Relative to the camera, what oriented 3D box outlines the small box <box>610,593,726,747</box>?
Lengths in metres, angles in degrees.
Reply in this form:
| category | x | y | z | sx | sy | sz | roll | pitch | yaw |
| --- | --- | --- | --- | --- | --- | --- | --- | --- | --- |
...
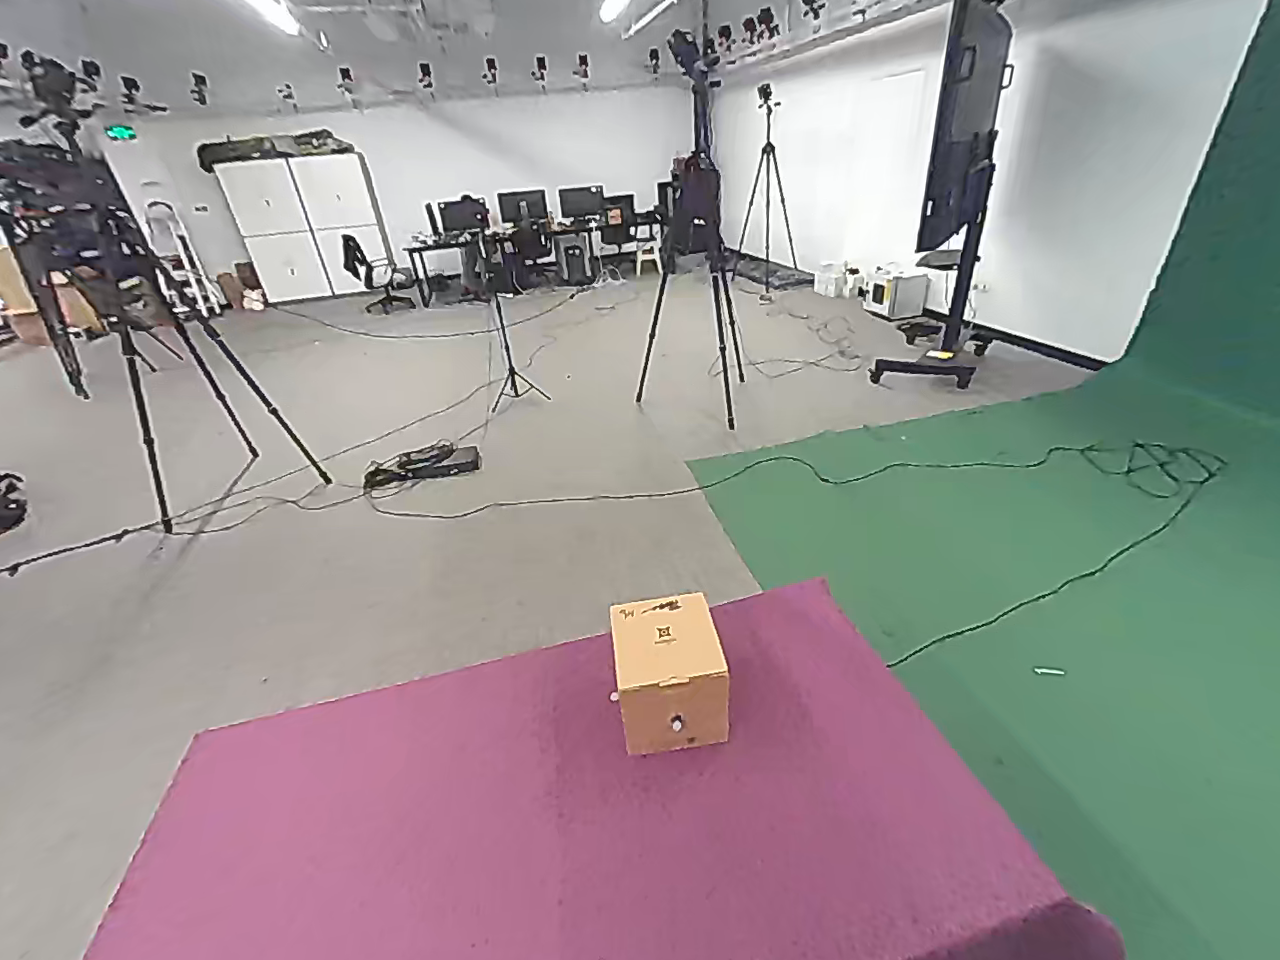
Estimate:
| category | x | y | z | sx | sy | sz | roll | pitch | yaw |
| --- | --- | --- | --- | --- | --- | --- | --- | --- | --- |
| small box | 0.045 | 0.318 | 0.897 | 0.168 | 0.176 | 0.179 | -8 | 32 | -3 |
